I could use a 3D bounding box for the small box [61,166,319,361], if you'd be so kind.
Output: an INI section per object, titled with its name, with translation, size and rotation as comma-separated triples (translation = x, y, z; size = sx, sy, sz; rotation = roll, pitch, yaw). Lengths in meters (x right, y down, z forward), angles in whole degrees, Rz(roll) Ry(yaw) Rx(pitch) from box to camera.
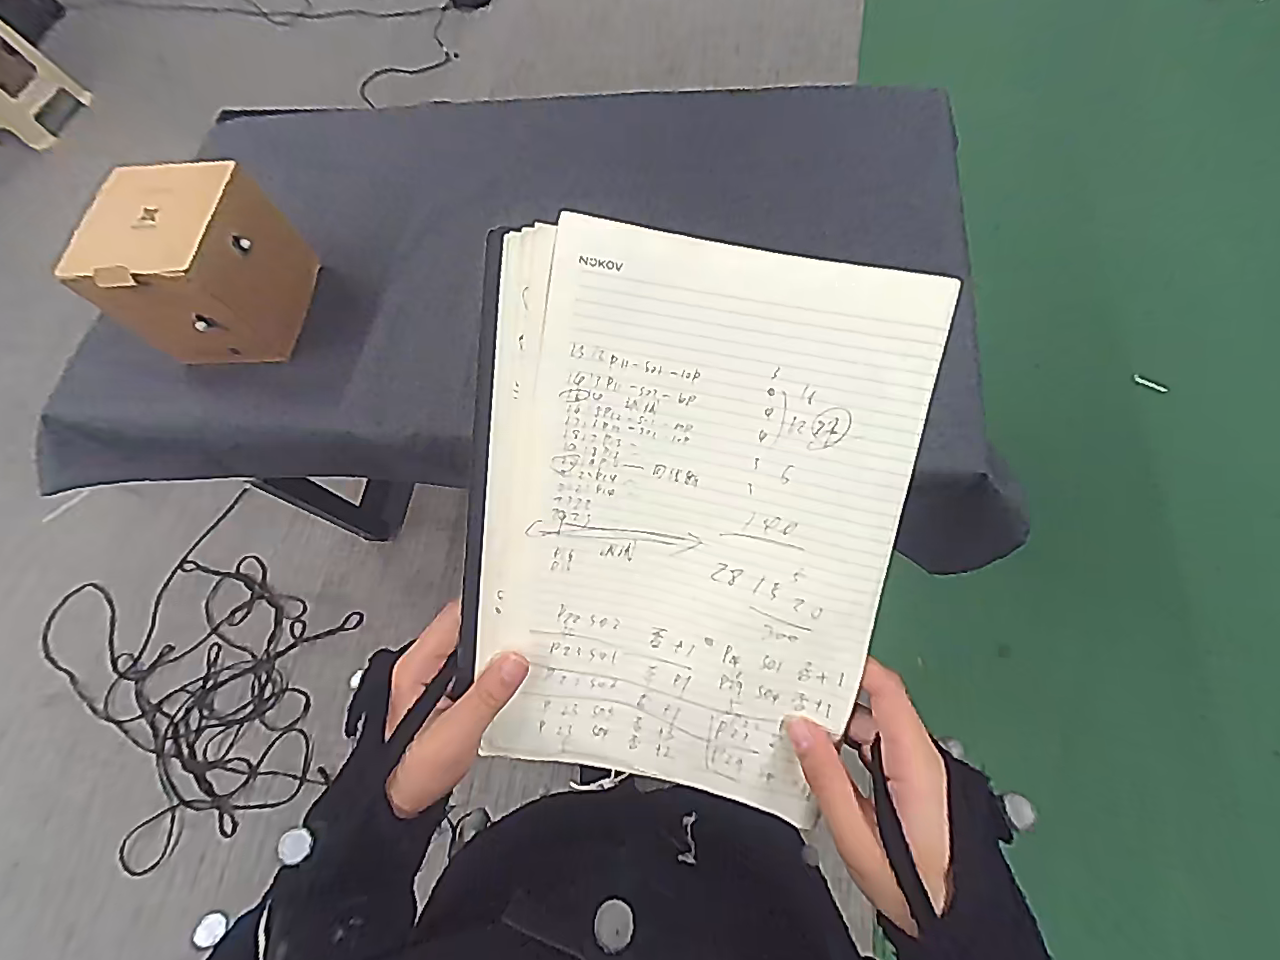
[small box]
translation = -0.557, -0.268, 0.701
size = 0.168, 0.176, 0.179
rotation = 0, 66, 5
